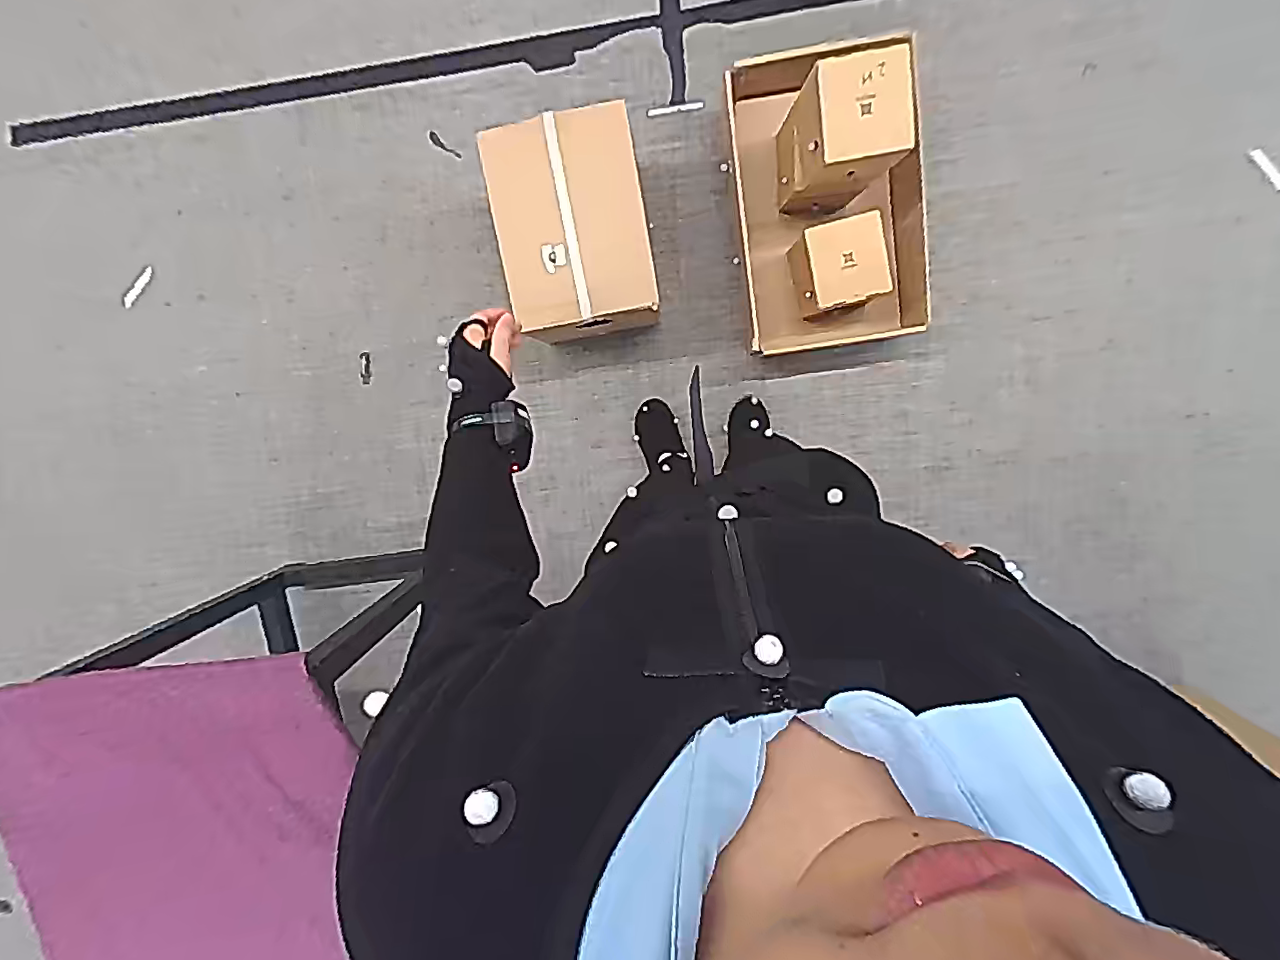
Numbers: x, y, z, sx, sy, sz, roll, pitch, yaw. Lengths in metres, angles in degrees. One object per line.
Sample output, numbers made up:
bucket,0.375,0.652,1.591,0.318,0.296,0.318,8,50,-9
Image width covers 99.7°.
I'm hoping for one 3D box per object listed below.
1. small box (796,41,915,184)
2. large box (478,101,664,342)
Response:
small box,0.412,-0.698,1.053,0.168,0.176,0.179,-9,101,3
large box,-0.132,-0.558,1.252,0.320,0.320,0.408,-10,100,6
